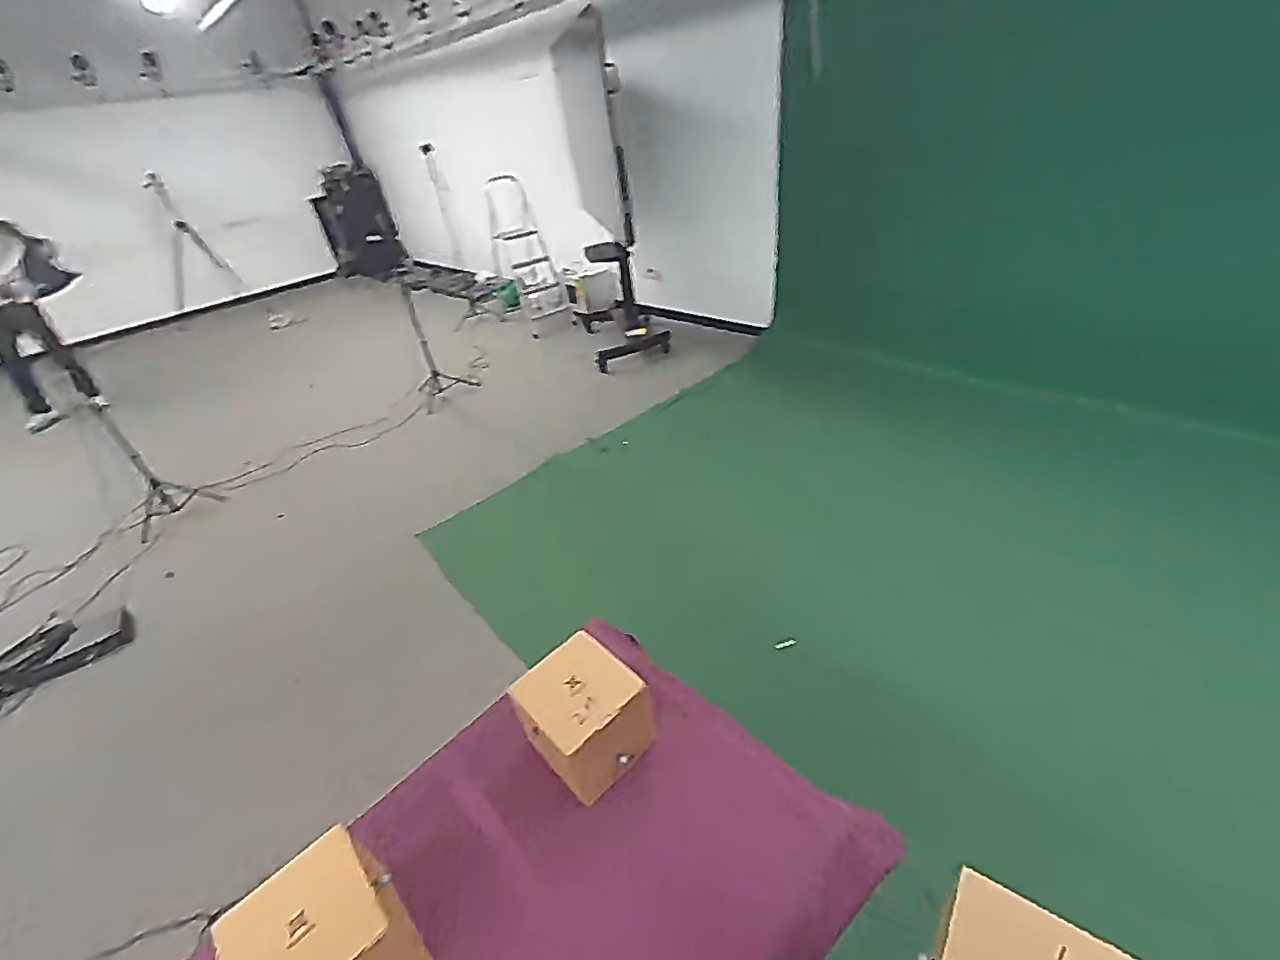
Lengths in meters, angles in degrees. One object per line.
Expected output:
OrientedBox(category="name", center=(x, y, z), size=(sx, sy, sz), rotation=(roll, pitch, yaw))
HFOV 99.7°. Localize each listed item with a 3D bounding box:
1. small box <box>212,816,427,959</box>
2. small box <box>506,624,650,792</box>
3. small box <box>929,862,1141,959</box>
OrientedBox(category="small box", center=(-0.416, 0.607, 0.717), size=(0.168, 0.176, 0.179), rotation=(-34, 44, -32))
OrientedBox(category="small box", center=(-0.103, 0.395, 0.943), size=(0.168, 0.176, 0.179), rotation=(-34, 43, -30))
OrientedBox(category="small box", center=(0.359, 0.515, 0.499), size=(0.168, 0.176, 0.179), rotation=(18, 48, 34))
